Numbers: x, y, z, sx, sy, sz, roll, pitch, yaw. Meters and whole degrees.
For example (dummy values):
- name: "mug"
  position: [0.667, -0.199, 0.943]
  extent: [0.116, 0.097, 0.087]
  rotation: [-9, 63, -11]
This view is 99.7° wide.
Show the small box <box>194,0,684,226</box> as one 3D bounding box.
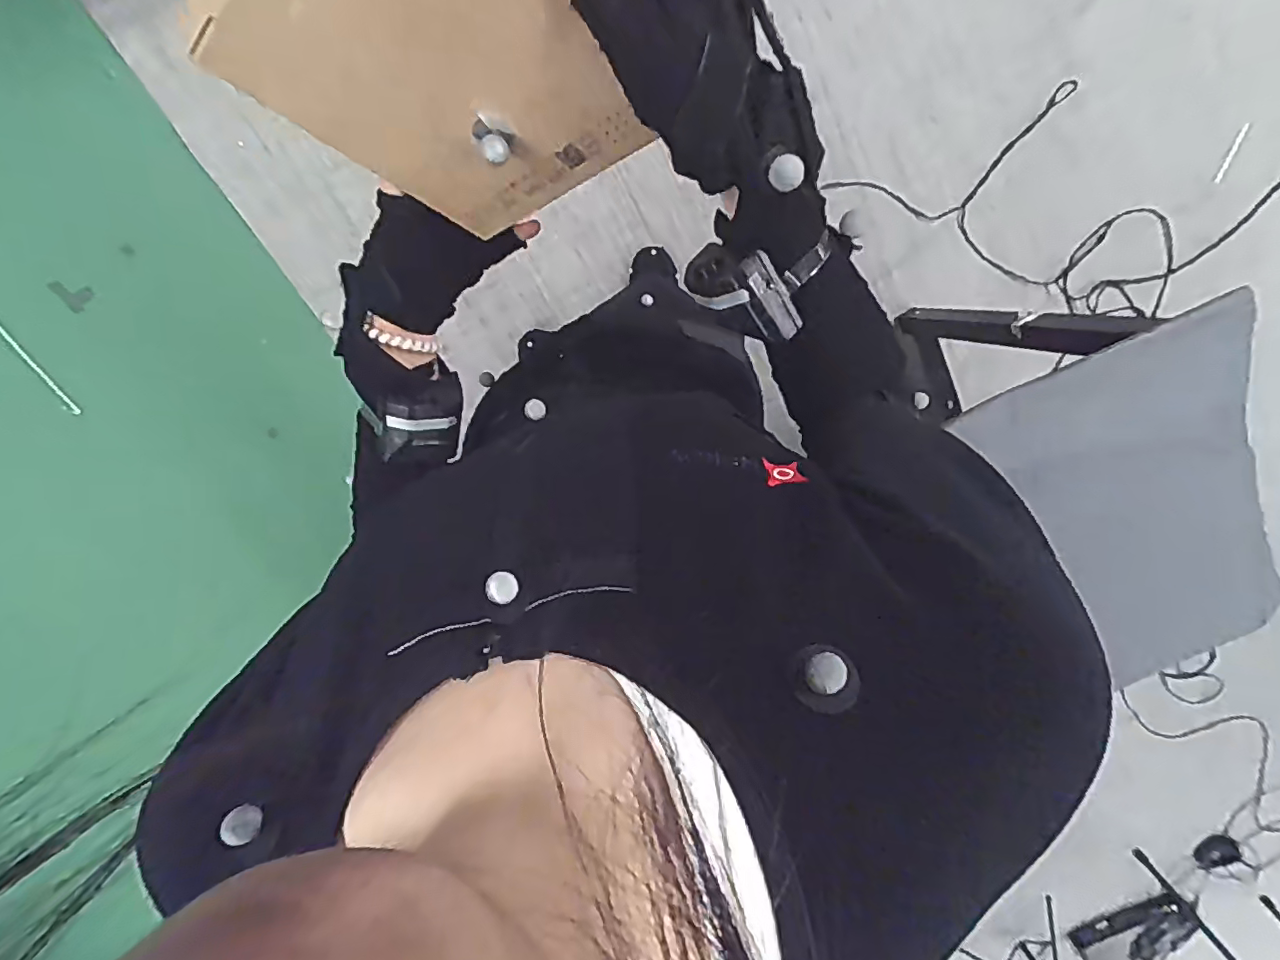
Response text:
- name: "small box"
  position: [-0.088, -0.276, 0.281]
  extent: [0.168, 0.176, 0.179]
  rotation: [-8, 76, 36]
